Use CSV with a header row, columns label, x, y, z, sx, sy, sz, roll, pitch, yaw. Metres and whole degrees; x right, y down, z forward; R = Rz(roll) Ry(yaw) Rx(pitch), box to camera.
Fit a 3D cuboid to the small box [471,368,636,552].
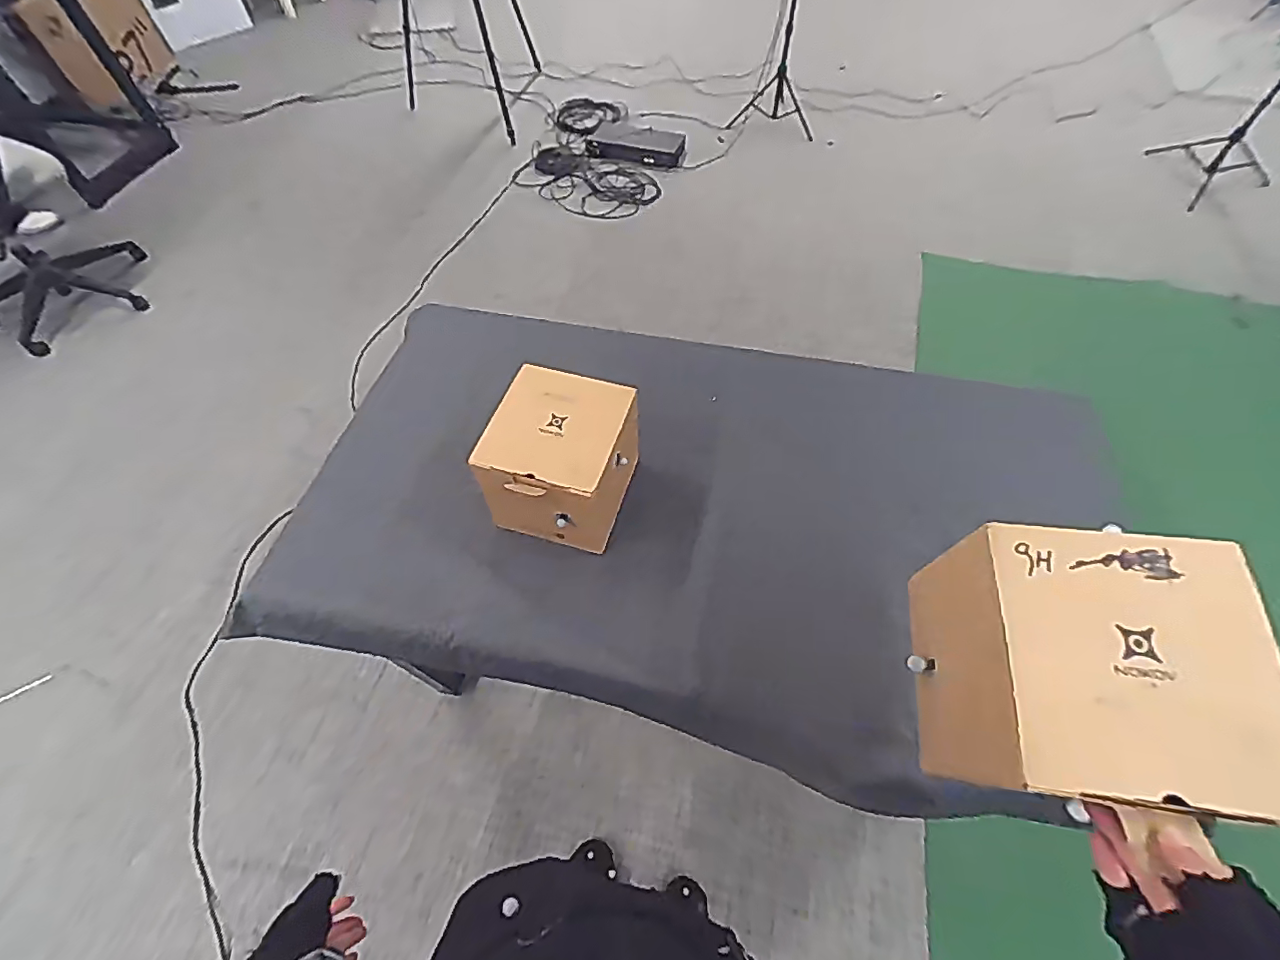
label,x,y,z,sx,sy,sz,roll,pitch,yaw
small box,-0.105,-0.023,0.754,0.168,0.176,0.179,14,57,8
